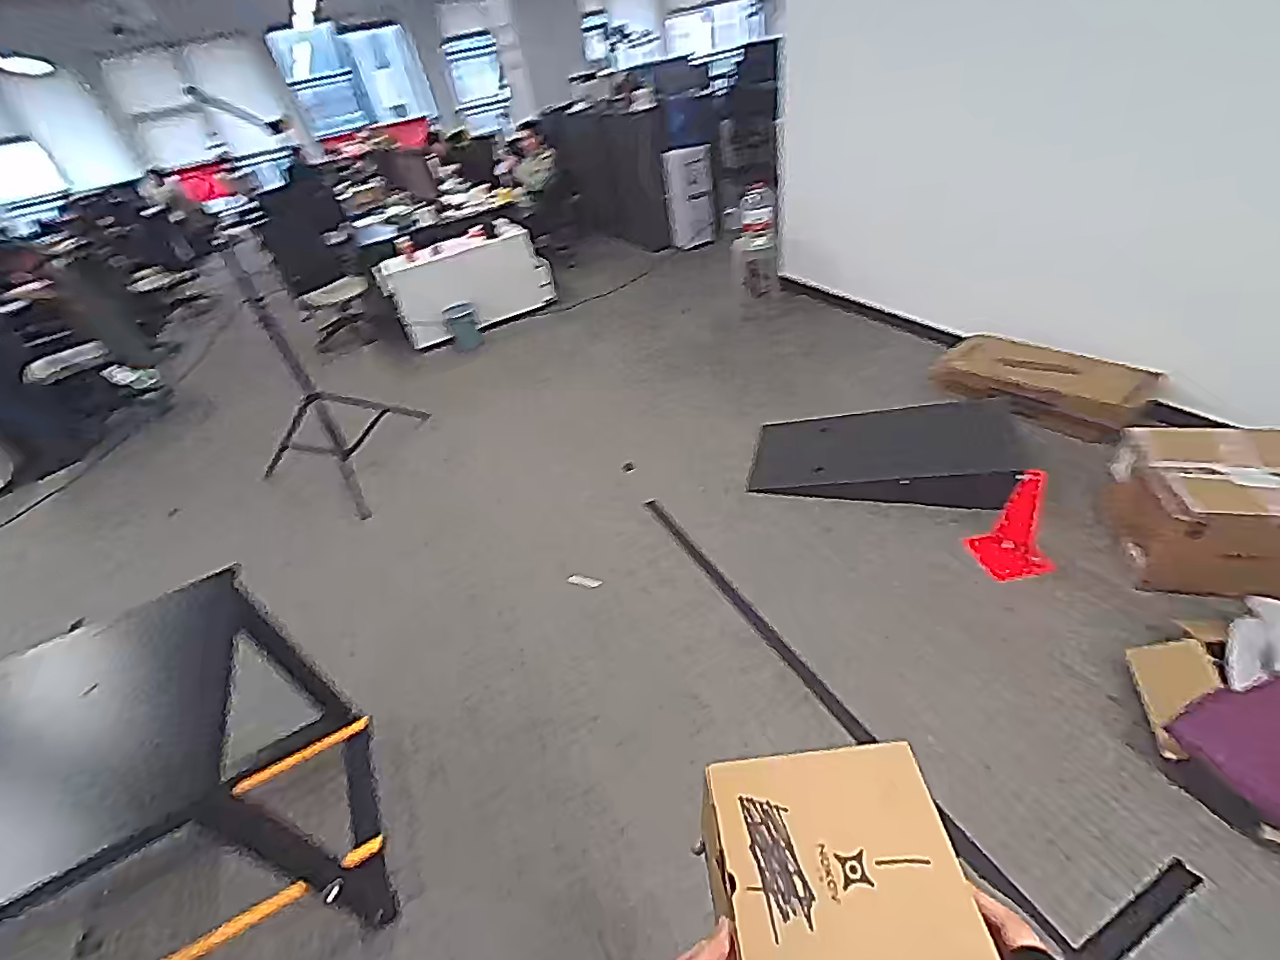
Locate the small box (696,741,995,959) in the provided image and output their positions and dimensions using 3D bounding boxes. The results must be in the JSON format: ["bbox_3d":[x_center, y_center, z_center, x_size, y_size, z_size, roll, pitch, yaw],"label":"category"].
[{"bbox_3d":[0.145,0.341,0.448,0.179,0.176,0.168,-6,45,-3],"label":"small box"}]
